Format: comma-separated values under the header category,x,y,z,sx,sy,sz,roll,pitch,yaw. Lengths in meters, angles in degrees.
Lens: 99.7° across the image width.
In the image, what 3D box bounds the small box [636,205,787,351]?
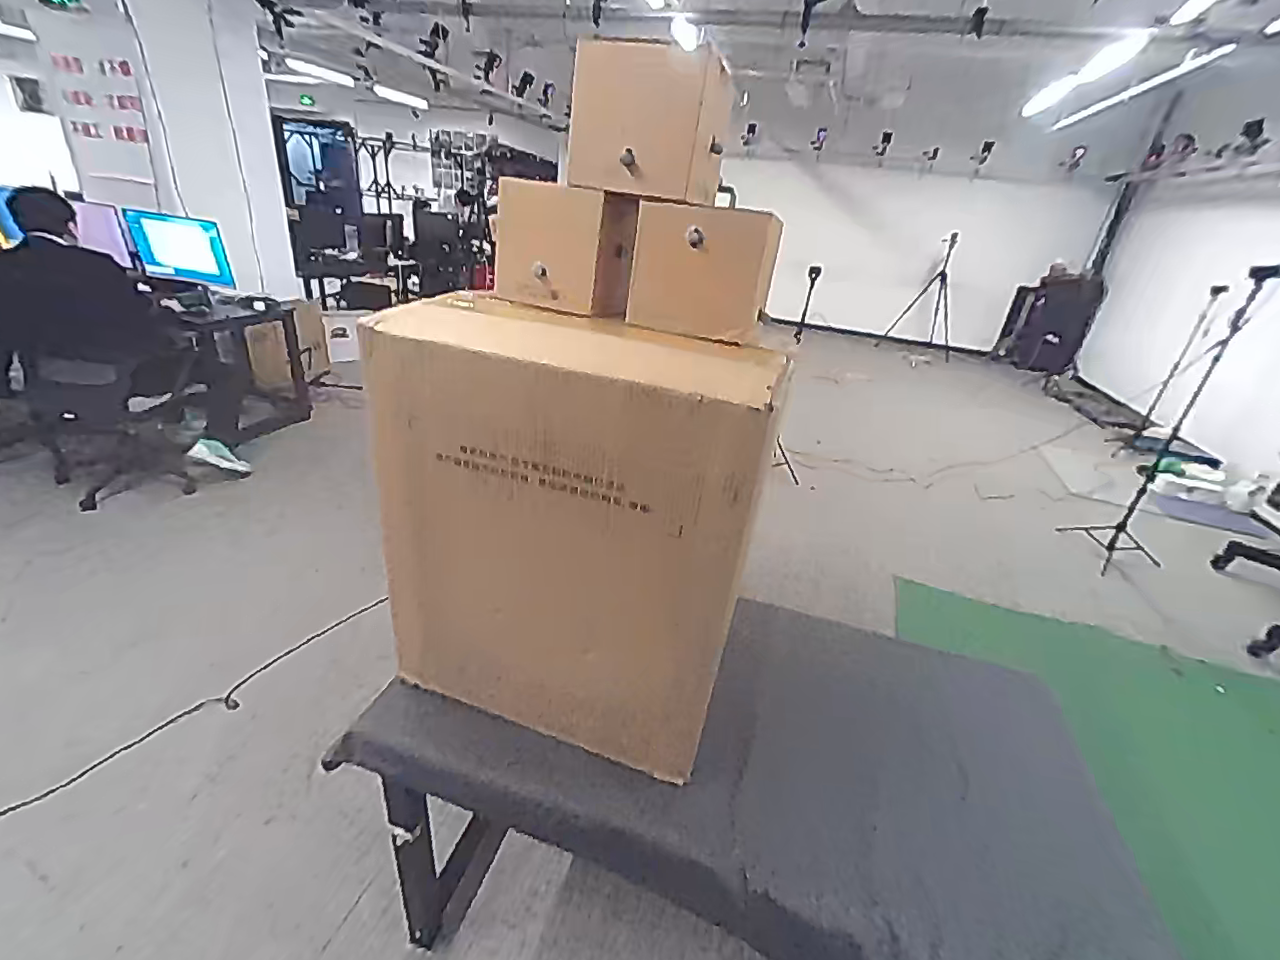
category,x,y,z,sx,sy,sz,roll,pitch,yaw
small box,0.104,-0.293,0.796,0.179,0.176,0.168,15,24,13

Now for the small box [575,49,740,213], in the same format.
category,x,y,z,sx,sy,sz,roll,pitch,yaw
small box,0.025,-0.472,0.764,0.179,0.176,0.168,16,23,14
